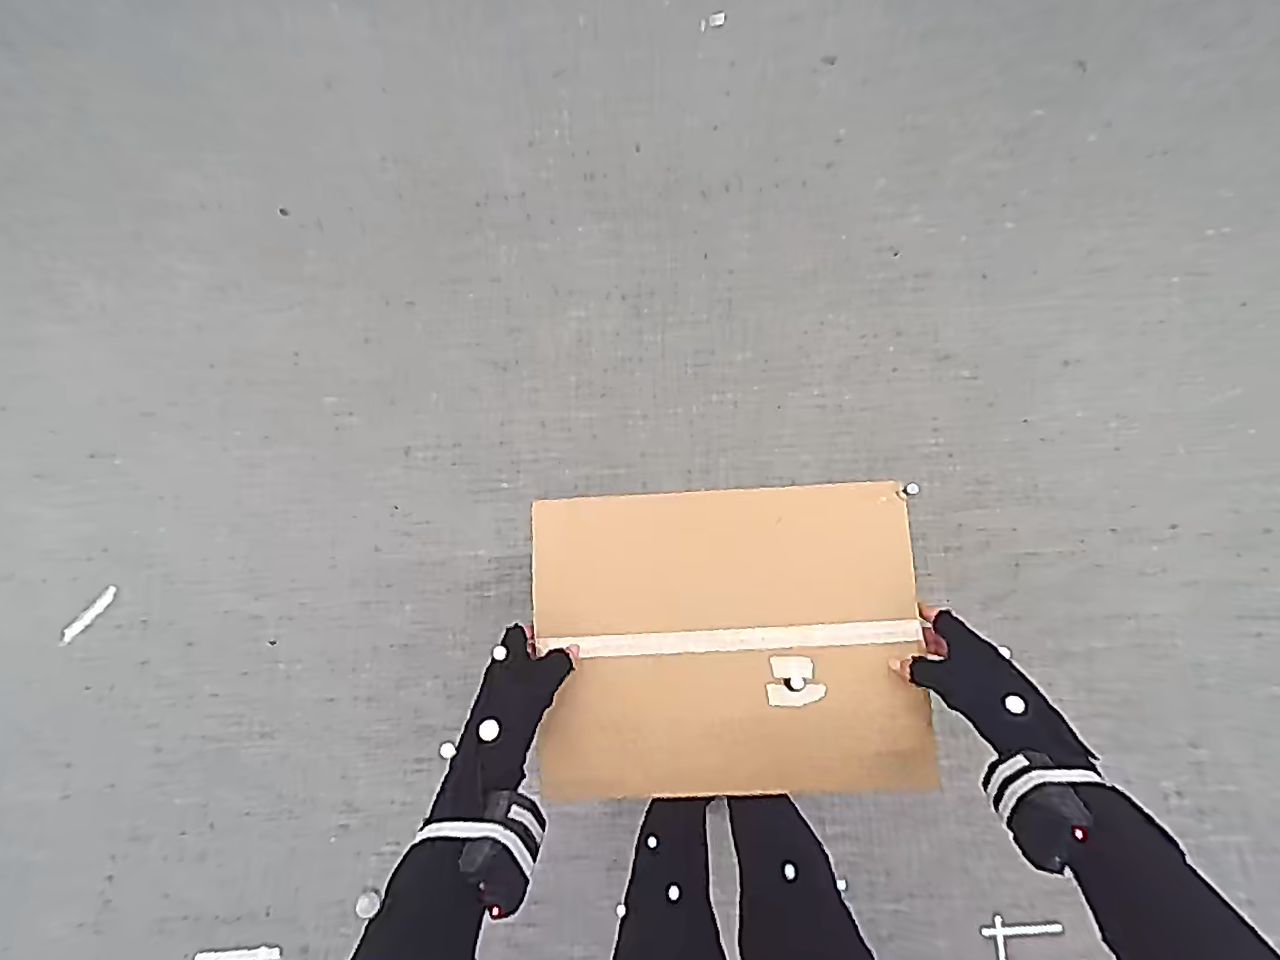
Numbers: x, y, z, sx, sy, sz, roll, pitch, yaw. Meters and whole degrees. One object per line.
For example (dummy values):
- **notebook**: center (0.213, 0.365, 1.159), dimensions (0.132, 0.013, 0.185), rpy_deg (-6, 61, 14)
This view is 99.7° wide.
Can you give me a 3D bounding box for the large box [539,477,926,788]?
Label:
- **large box**: center (0.096, 0.181, 0.735), dimensions (0.408, 0.320, 0.320), rpy_deg (-4, 83, 2)
